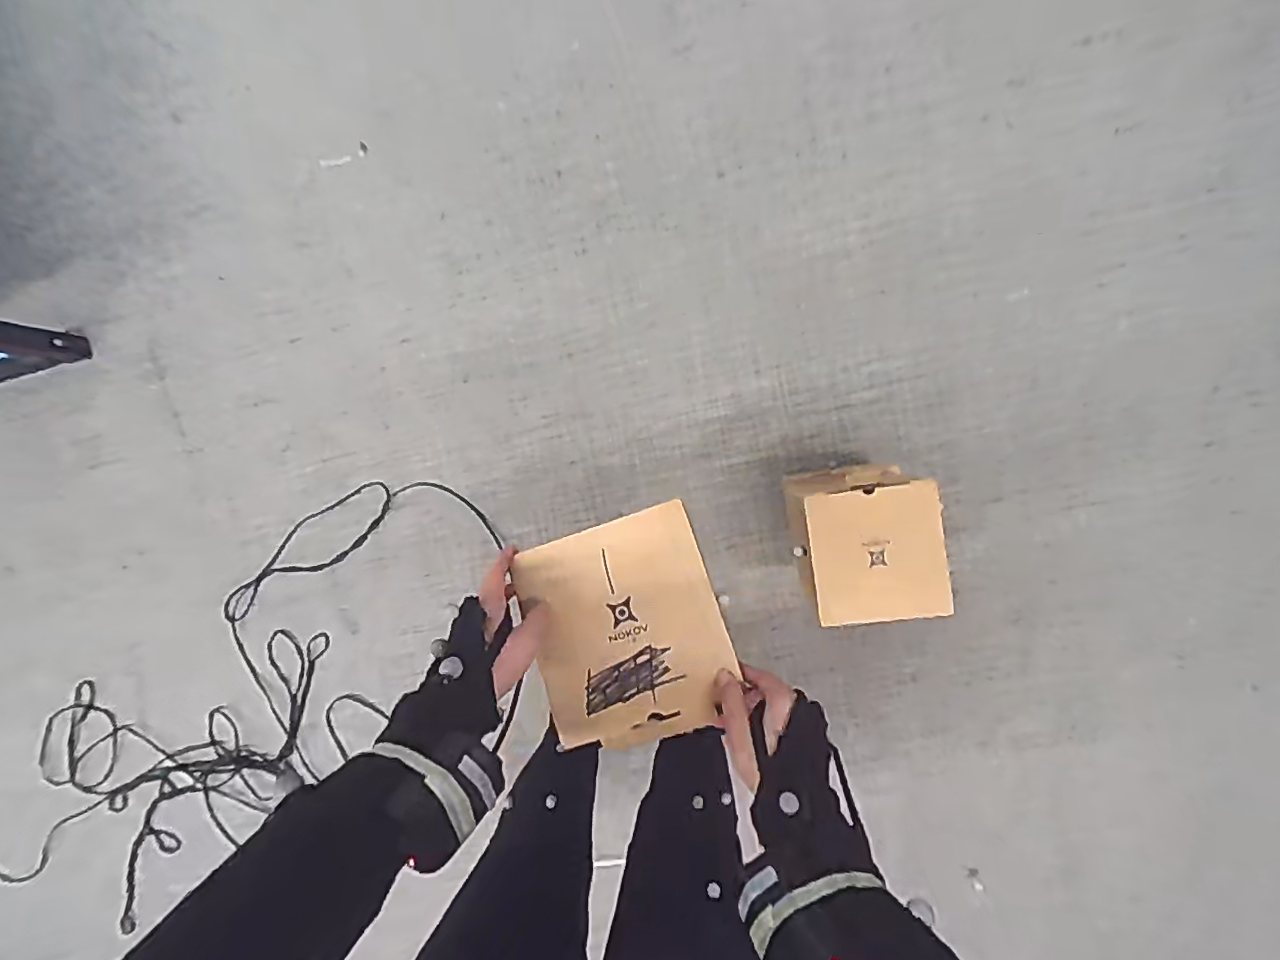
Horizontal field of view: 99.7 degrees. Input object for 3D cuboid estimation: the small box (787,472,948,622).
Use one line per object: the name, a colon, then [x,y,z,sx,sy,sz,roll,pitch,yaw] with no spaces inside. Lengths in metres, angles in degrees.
small box: [0.311,0.087,0.770,0.168,0.176,0.179,-8,91,8]

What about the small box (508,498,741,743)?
small box: [-0.007,0.126,0.542,0.168,0.176,0.179,-19,83,4]

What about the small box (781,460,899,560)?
small box: [0.343,0.064,0.930,0.168,0.176,0.179,-8,90,8]
